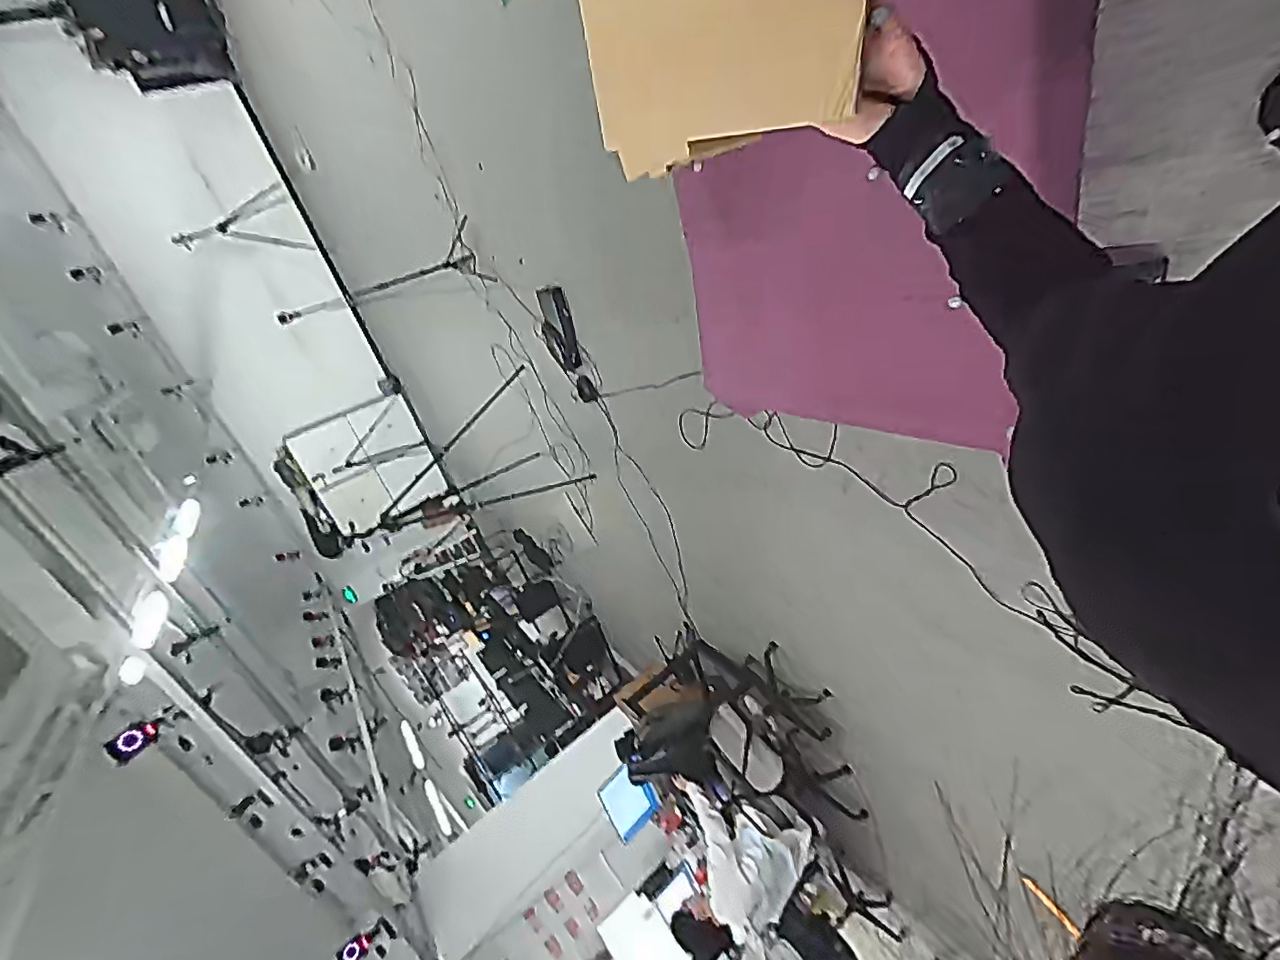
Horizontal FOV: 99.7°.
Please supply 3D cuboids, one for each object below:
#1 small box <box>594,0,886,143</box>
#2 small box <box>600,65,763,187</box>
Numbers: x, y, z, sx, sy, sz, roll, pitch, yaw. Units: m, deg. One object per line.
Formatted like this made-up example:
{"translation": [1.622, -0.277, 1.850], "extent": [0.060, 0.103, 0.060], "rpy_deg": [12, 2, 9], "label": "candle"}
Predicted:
{"translation": [0.072, -0.338, 0.343], "extent": [0.168, 0.179, 0.176], "rpy_deg": [5, 133, 19], "label": "small box"}
{"translation": [0.072, -0.590, 0.848], "extent": [0.168, 0.176, 0.179], "rpy_deg": [18, 134, 51], "label": "small box"}
